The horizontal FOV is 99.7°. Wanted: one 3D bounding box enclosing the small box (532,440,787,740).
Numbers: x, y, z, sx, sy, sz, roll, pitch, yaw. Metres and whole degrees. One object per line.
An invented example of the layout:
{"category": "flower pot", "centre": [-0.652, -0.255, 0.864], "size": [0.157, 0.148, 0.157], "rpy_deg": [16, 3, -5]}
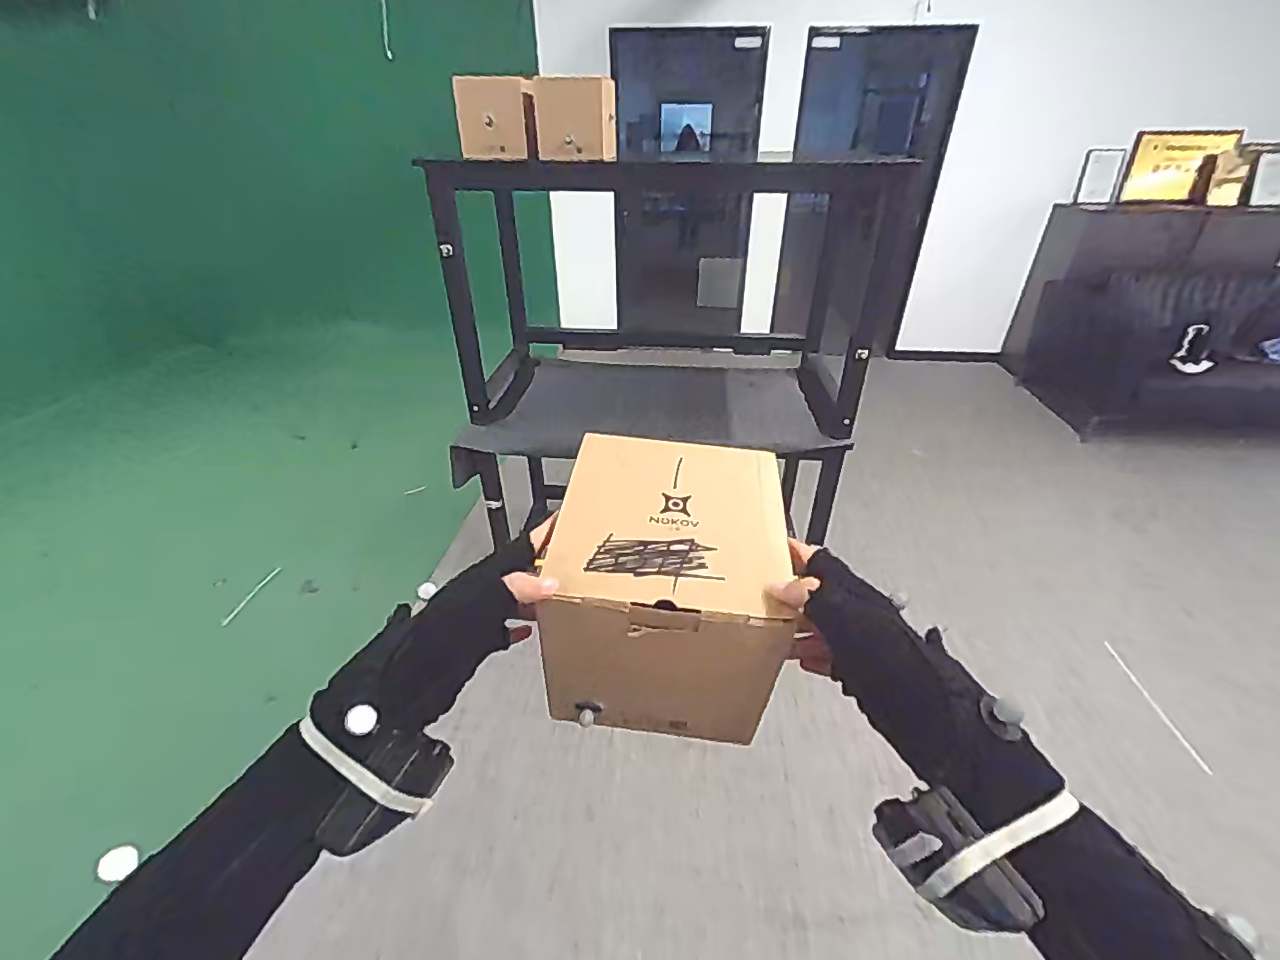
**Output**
{"category": "small box", "centre": [0.018, 0.090, 0.451], "size": [0.168, 0.176, 0.179], "rpy_deg": [6, 40, 3]}

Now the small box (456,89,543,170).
{"category": "small box", "centre": [-0.351, -0.899, 1.392], "size": [0.168, 0.176, 0.179], "rpy_deg": [4, 32, 4]}
